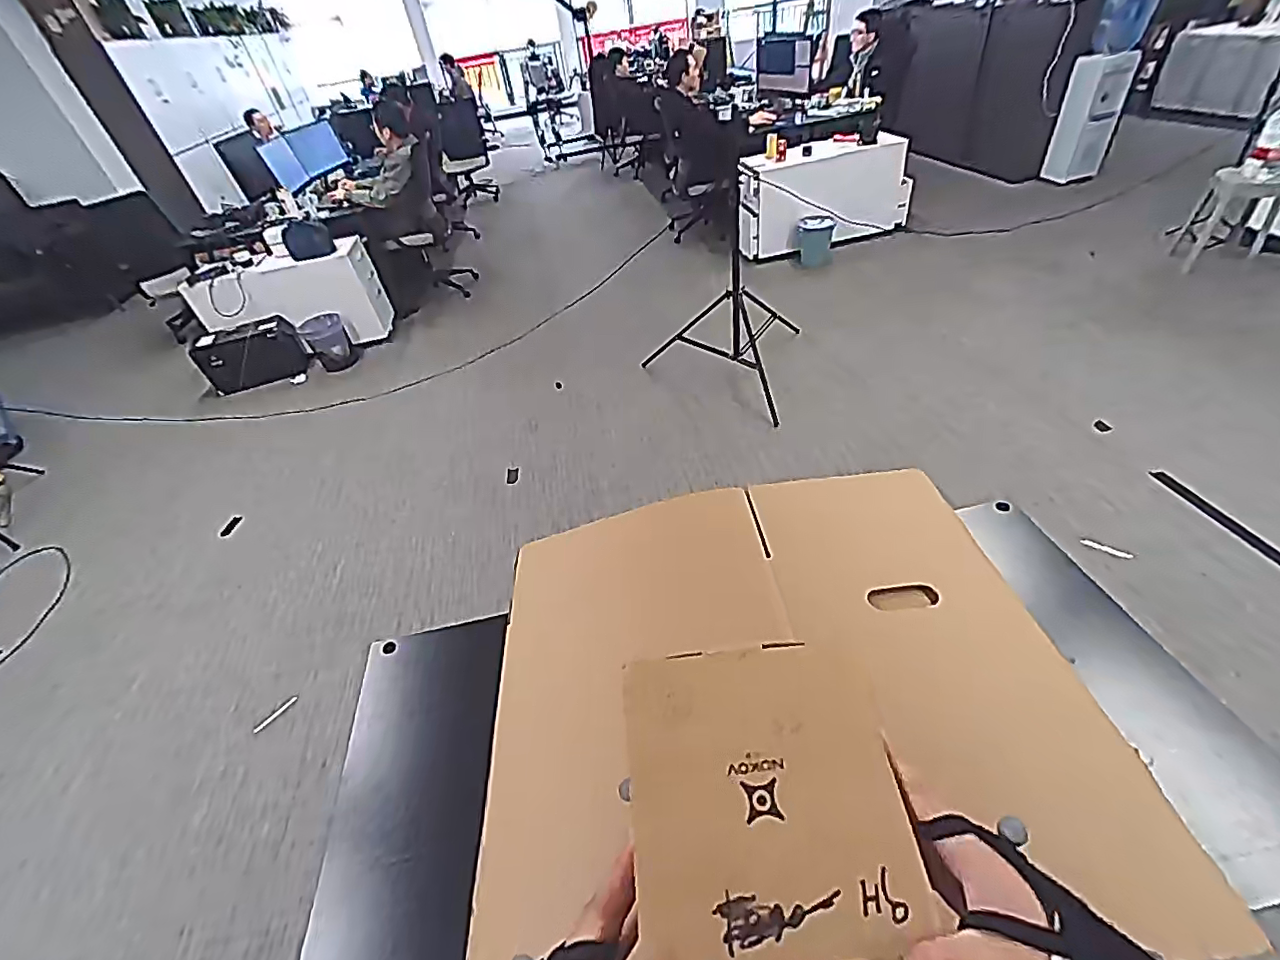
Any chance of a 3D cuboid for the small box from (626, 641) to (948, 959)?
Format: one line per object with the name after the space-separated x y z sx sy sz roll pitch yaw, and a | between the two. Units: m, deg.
0.081 0.241 0.400 0.168 0.176 0.179 -7 52 0 | small box
